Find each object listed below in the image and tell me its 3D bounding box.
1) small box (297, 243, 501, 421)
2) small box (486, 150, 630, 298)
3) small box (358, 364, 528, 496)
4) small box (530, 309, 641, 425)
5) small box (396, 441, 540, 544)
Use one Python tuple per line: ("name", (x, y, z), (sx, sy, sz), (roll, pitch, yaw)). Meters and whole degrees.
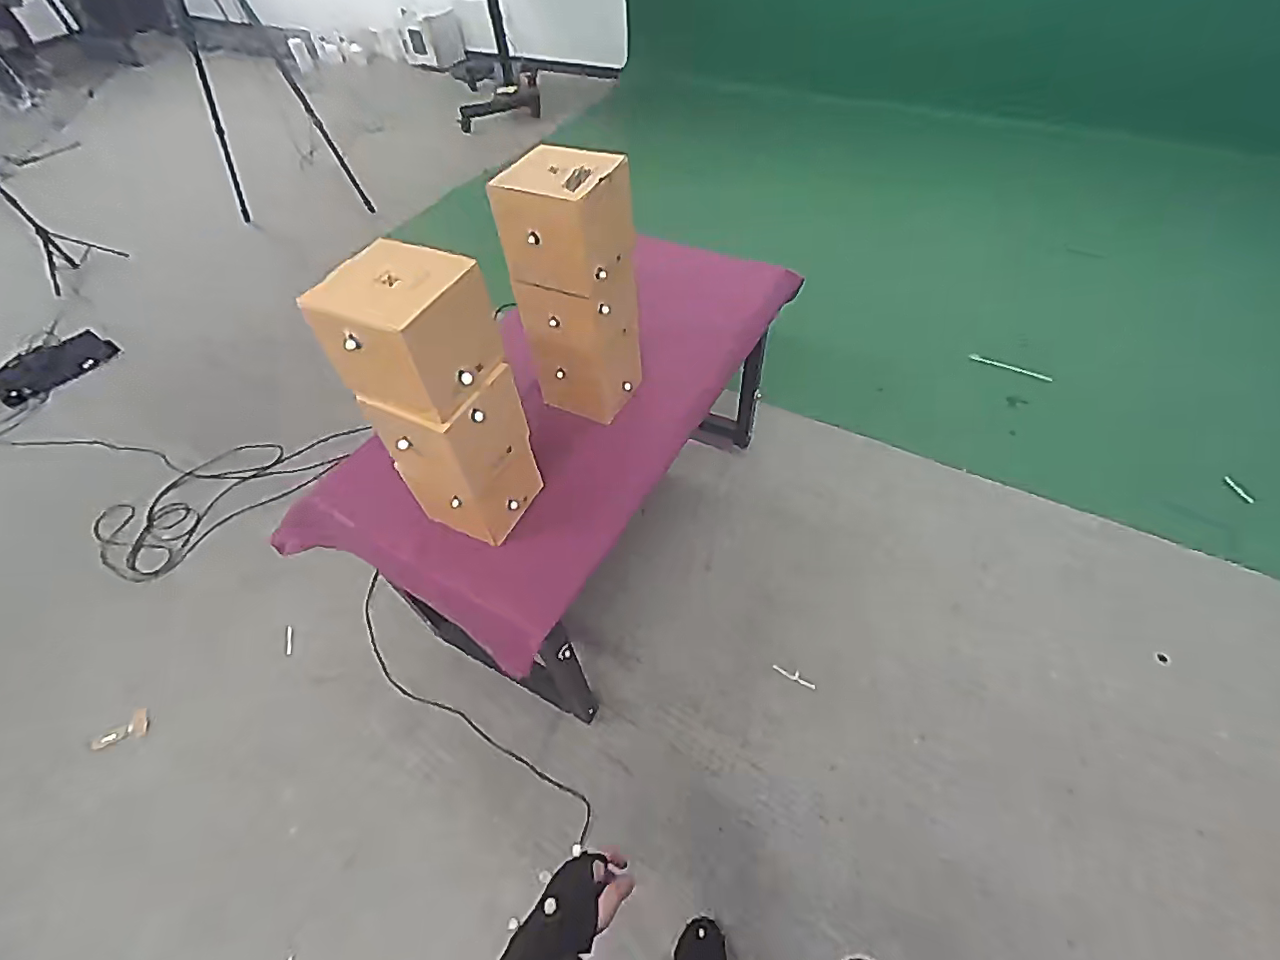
("small box", (-0.330, -0.209, 0.778), (0.179, 0.176, 0.168), (19, 56, 17))
("small box", (-0.130, -0.443, 0.942), (0.179, 0.176, 0.168), (20, 56, 20))
("small box", (-0.315, -0.098, 0.899), (0.179, 0.176, 0.168), (20, 56, 19))
("small box", (-0.113, -0.249, 1.207), (0.179, 0.176, 0.168), (21, 57, 20))
("small box", (-0.317, -0.003, 1.032), (0.179, 0.176, 0.168), (19, 55, 18))
